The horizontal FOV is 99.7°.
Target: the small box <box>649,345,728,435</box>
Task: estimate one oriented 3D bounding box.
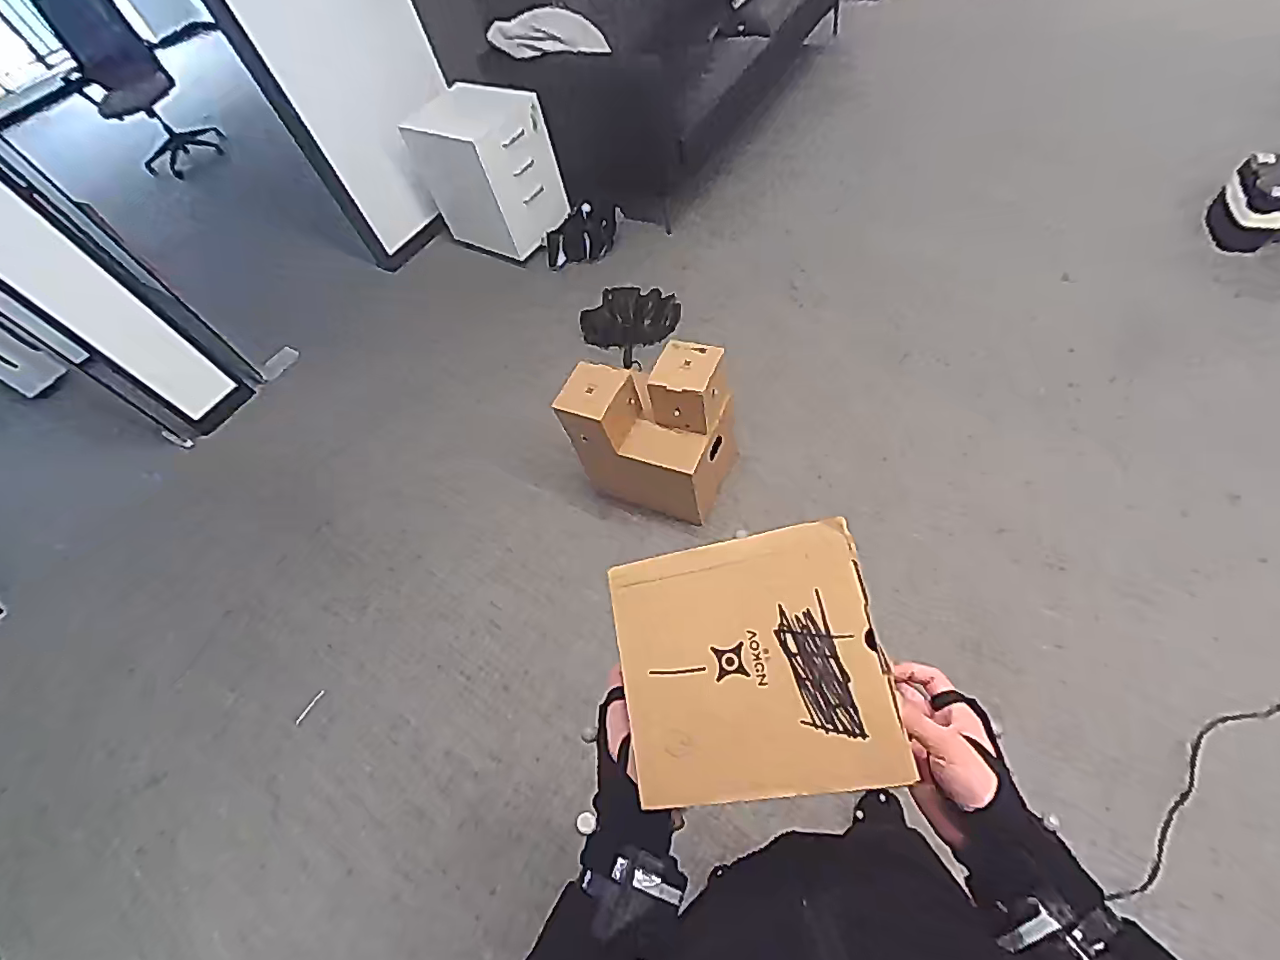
[{"bbox_3d":[0.144,-0.251,1.527,0.168,0.176,0.179,15,61,22],"label":"small box"}]

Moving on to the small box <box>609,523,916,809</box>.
[{"bbox_3d":[0.094,0.143,0.435,0.179,0.176,0.168,-15,71,15],"label":"small box"}]

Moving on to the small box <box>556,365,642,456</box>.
[{"bbox_3d":[-0.108,-0.198,1.554,0.168,0.176,0.179,18,67,24],"label":"small box"}]
